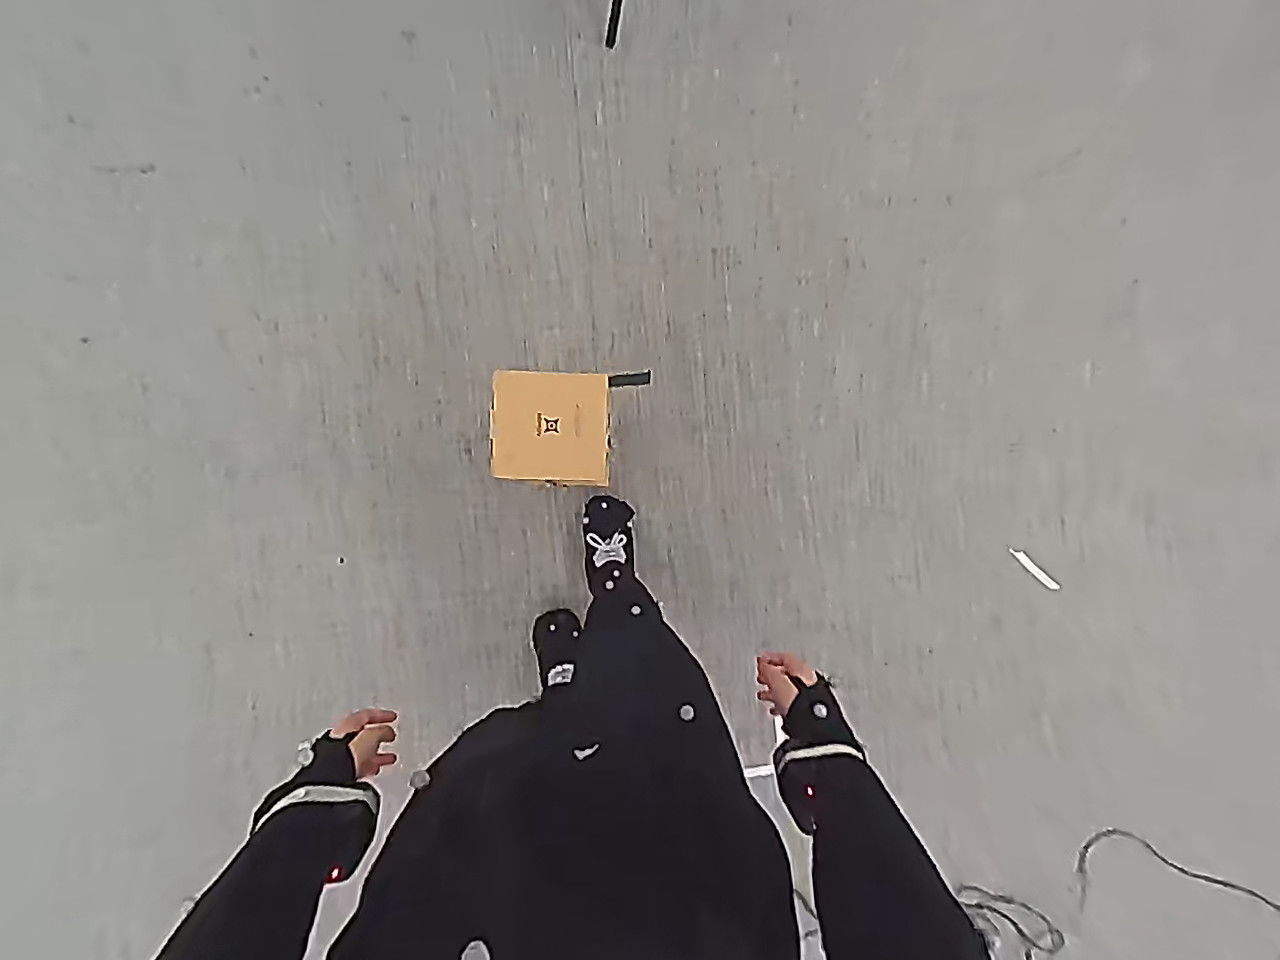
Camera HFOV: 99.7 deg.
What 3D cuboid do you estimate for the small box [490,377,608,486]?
[{"bbox_3d":[-0.144,-0.074,0.904,0.179,0.176,0.168,1,91,-4],"label":"small box"}]
